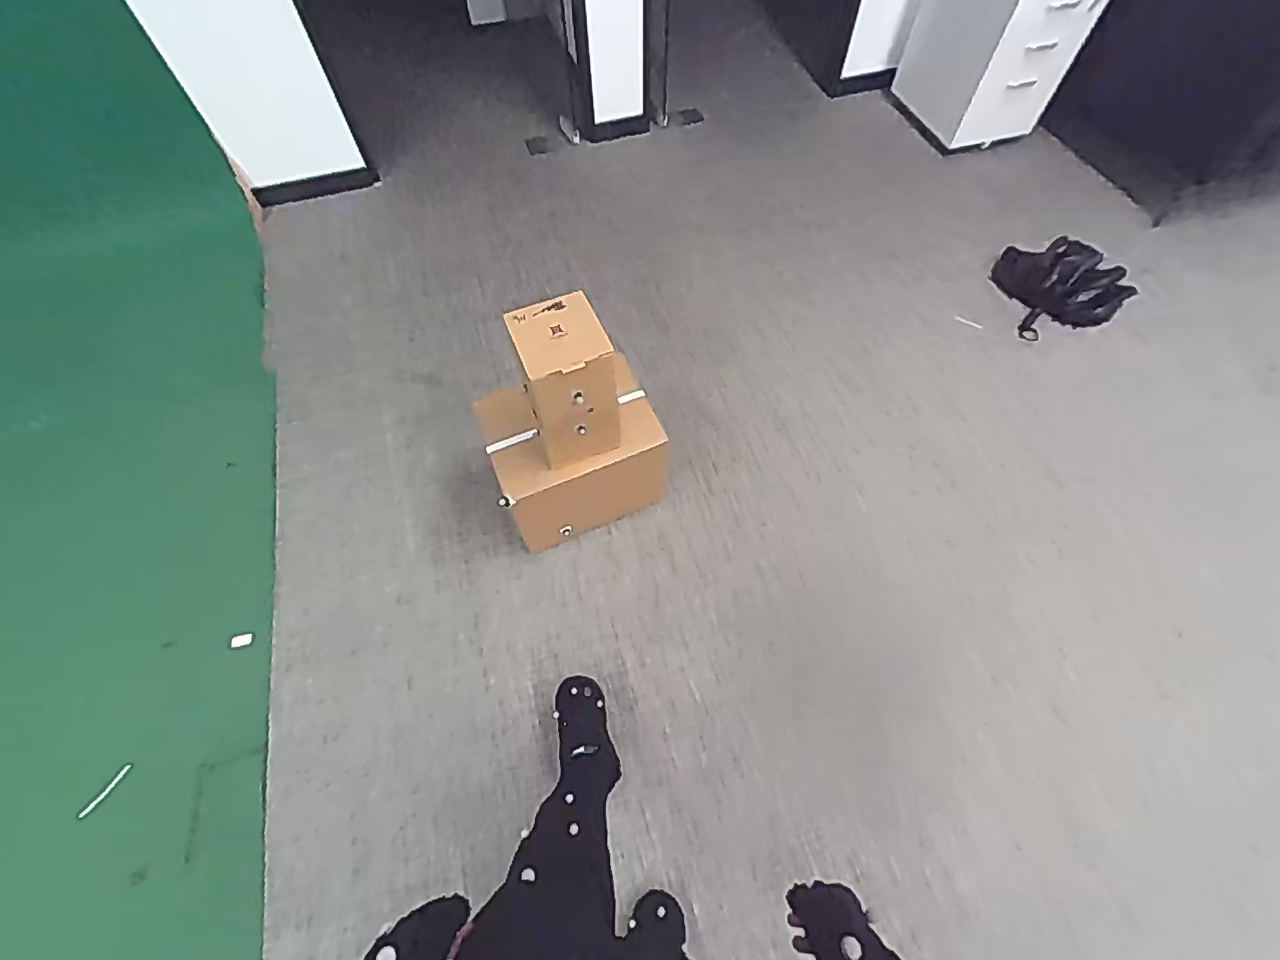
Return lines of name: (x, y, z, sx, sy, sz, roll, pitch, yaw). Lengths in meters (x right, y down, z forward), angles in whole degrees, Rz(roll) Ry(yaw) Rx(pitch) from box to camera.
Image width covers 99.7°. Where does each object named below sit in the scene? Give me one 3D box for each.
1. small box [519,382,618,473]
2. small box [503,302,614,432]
small box: (-0.156, -0.140, 1.234, 0.179, 0.176, 0.168, -20, 63, -12)
small box: (-0.157, -0.218, 1.090, 0.168, 0.176, 0.179, -21, 64, -11)
